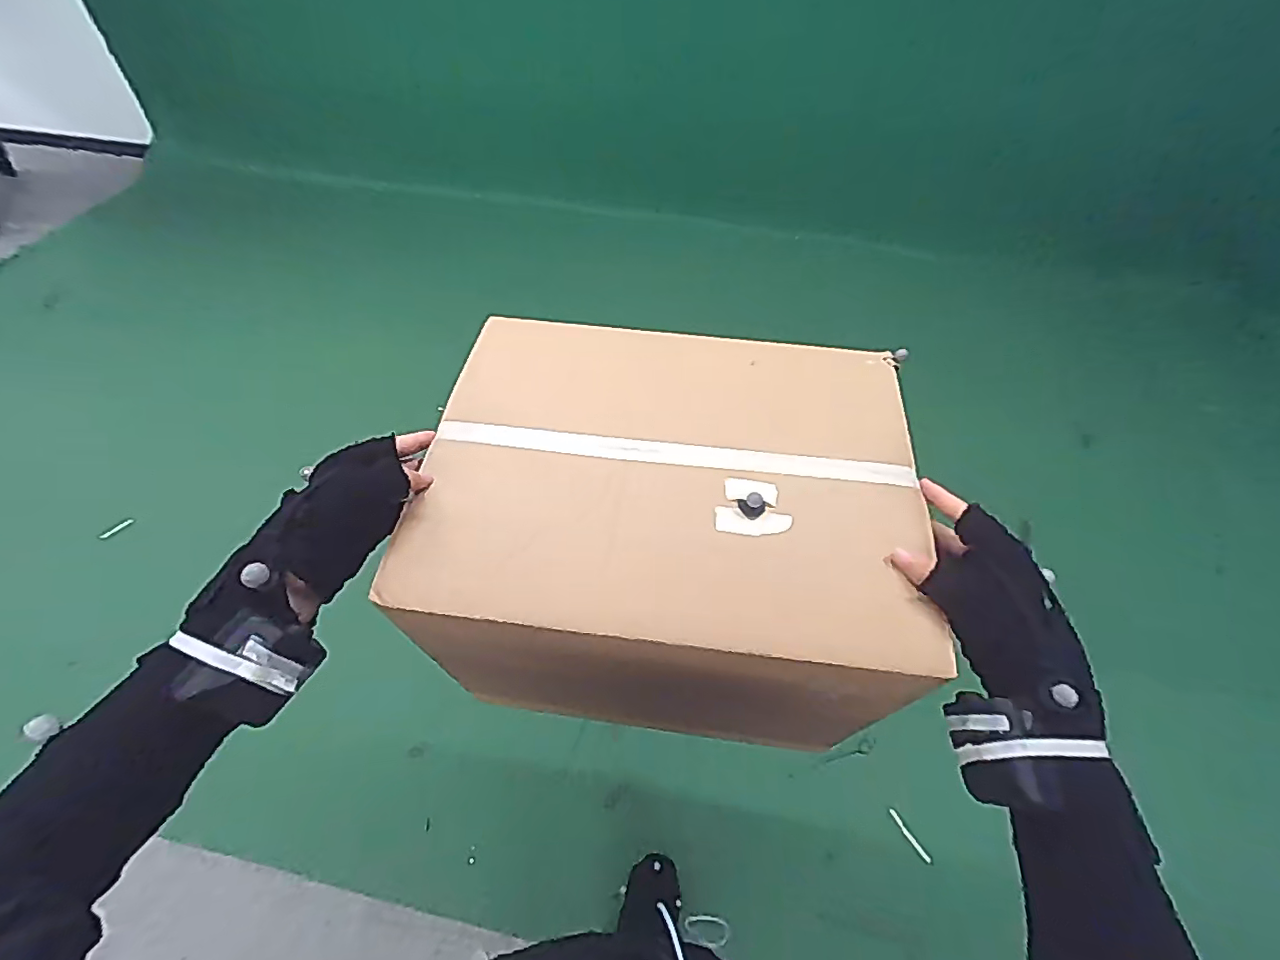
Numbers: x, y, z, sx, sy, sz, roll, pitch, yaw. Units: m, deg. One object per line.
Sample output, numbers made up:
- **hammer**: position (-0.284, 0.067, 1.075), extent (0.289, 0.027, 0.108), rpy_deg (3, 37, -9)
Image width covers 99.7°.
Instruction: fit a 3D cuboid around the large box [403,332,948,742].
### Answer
- **large box**: position (0.032, 0.073, 0.592), extent (0.408, 0.320, 0.320), rpy_deg (7, 55, 3)
